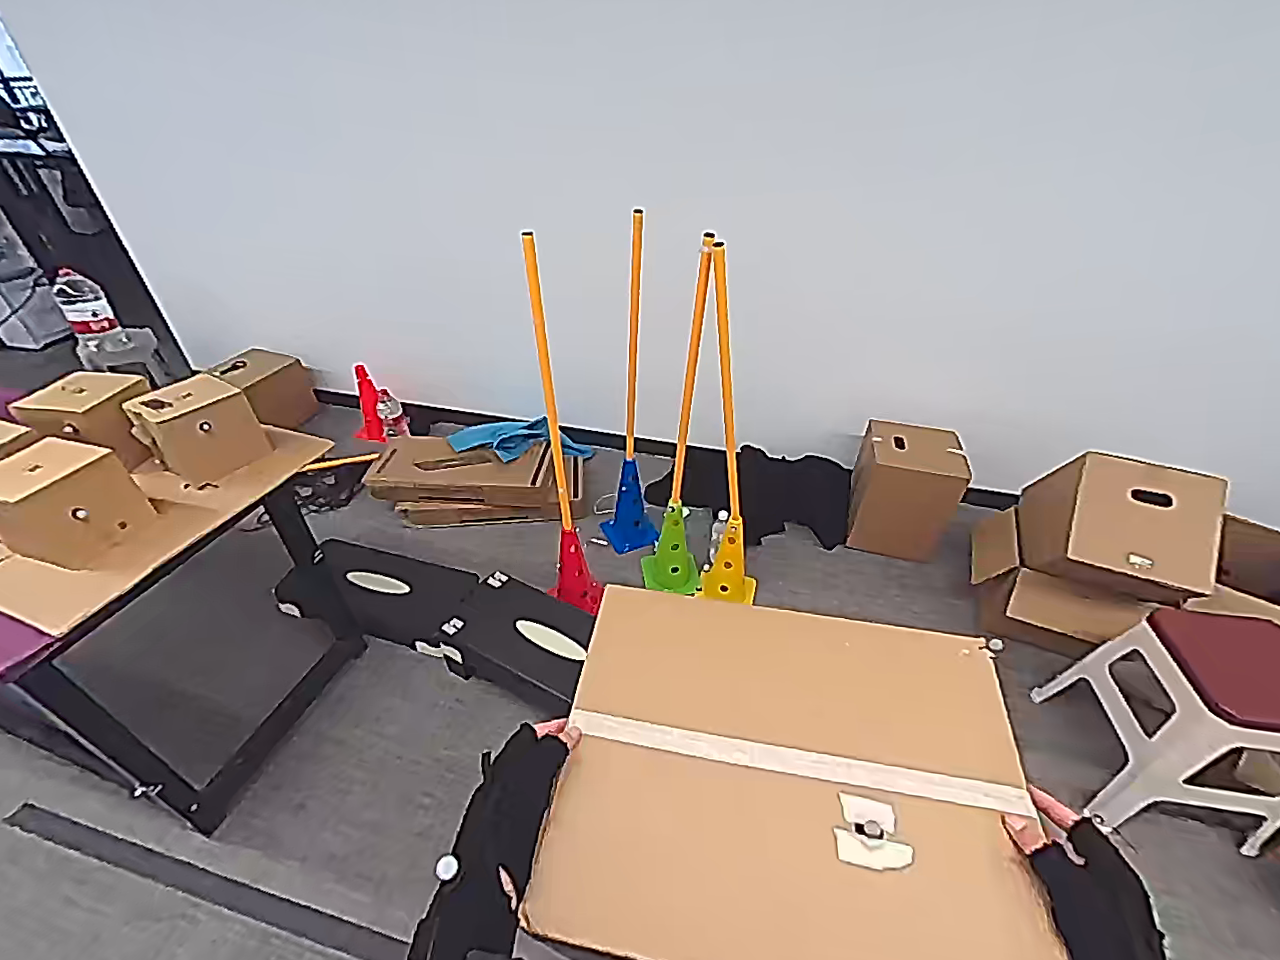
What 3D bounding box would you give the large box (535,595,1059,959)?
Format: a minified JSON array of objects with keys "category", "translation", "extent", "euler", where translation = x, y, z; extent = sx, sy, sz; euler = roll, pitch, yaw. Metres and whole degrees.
[{"category":"large box","translation":[0.138,0.365,0.607],"extent":[0.408,0.320,0.320],"euler":[7,47,9]}]
